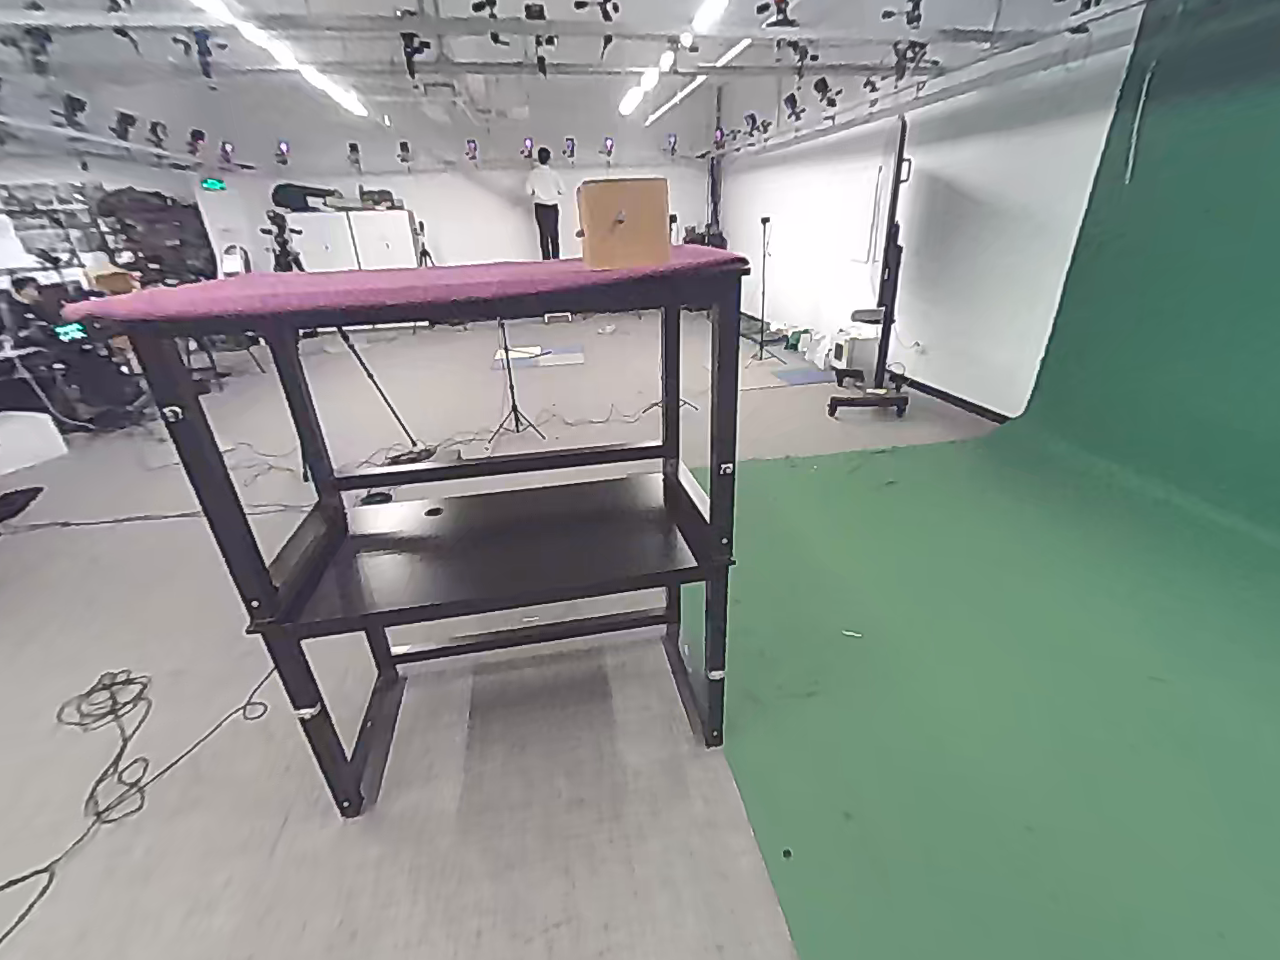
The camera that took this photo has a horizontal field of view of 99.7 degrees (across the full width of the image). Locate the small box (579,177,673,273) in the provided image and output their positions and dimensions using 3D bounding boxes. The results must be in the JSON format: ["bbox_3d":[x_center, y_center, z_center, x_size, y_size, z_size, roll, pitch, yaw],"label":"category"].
[{"bbox_3d":[-0.033,-0.547,1.177,0.179,0.176,0.168,-8,24,-7],"label":"small box"}]
